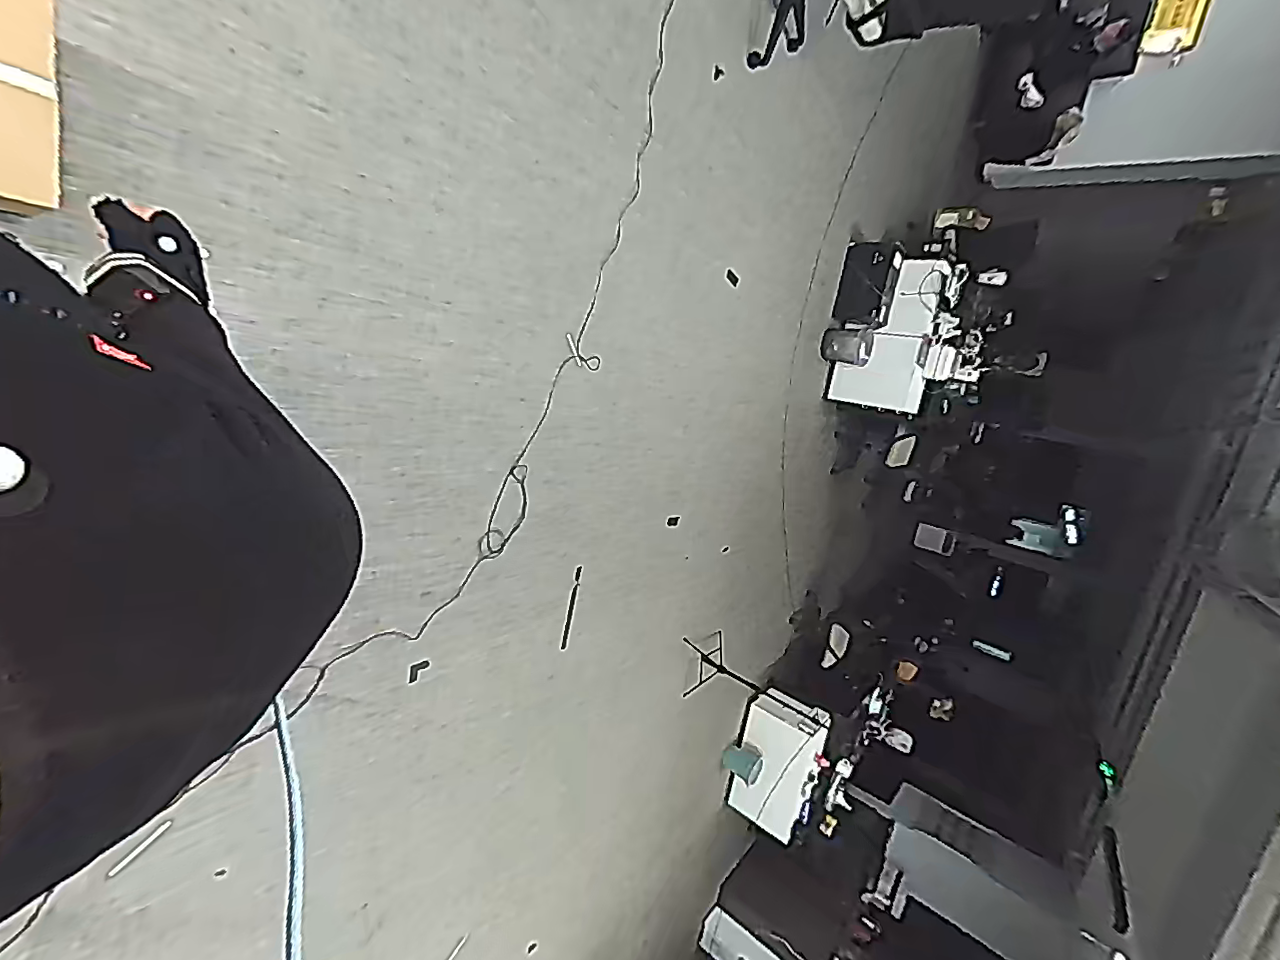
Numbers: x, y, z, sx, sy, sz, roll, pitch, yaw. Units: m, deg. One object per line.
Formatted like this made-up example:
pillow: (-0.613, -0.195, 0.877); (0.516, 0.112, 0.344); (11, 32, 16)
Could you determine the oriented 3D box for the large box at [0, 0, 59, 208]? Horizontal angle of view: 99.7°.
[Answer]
large box: (-1.060, -0.577, 0.685); (0.408, 0.320, 0.320); (-4, 109, -53)
